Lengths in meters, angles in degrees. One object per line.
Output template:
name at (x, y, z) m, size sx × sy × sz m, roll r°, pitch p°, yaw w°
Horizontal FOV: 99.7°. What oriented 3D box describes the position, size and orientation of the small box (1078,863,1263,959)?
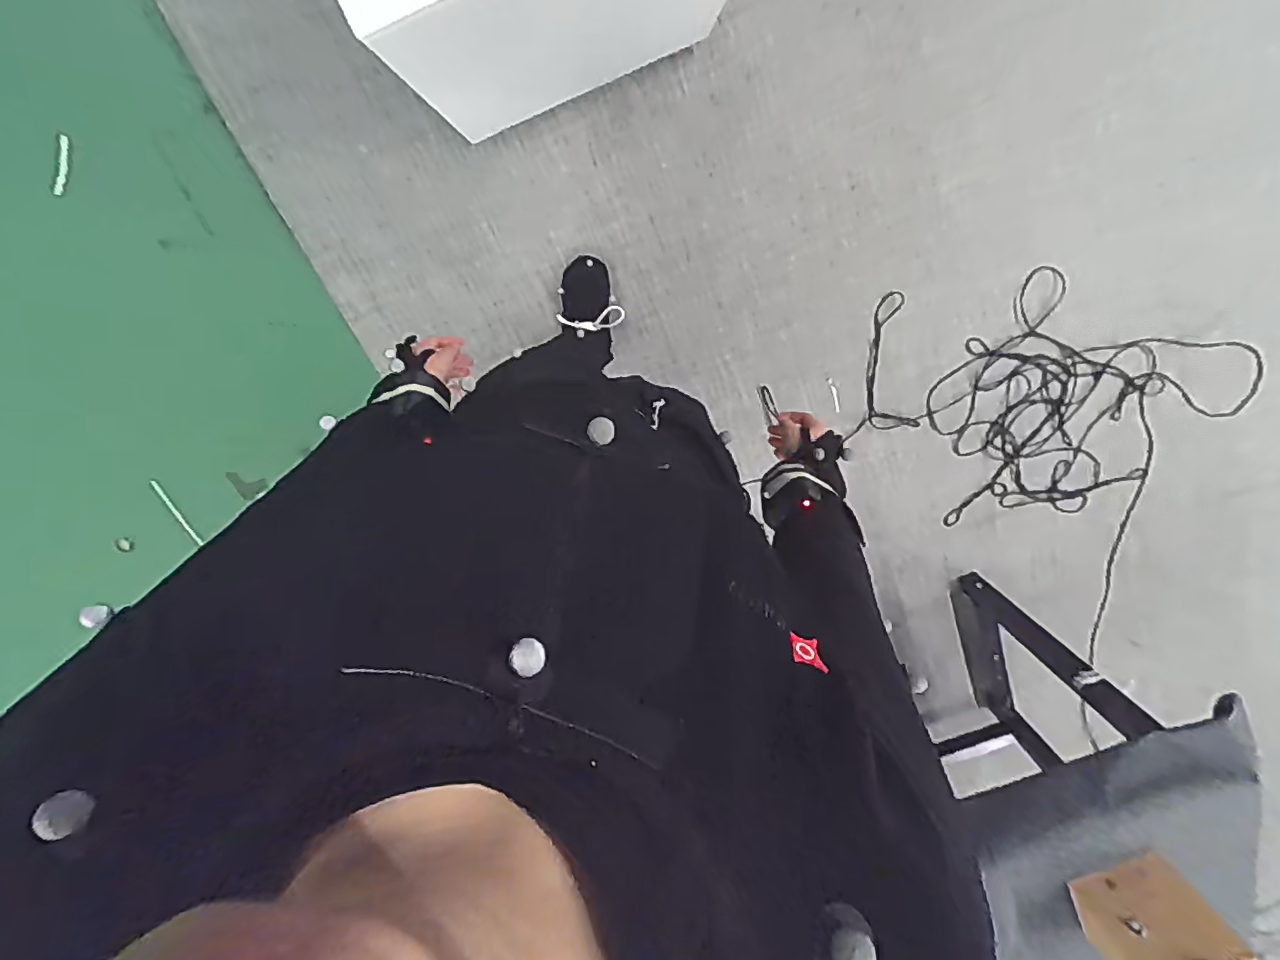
small box at (0.893, 0.792, 0.918) m, size 0.168 × 0.176 × 0.179 m, roll -27°, pitch 112°, yaw 8°
